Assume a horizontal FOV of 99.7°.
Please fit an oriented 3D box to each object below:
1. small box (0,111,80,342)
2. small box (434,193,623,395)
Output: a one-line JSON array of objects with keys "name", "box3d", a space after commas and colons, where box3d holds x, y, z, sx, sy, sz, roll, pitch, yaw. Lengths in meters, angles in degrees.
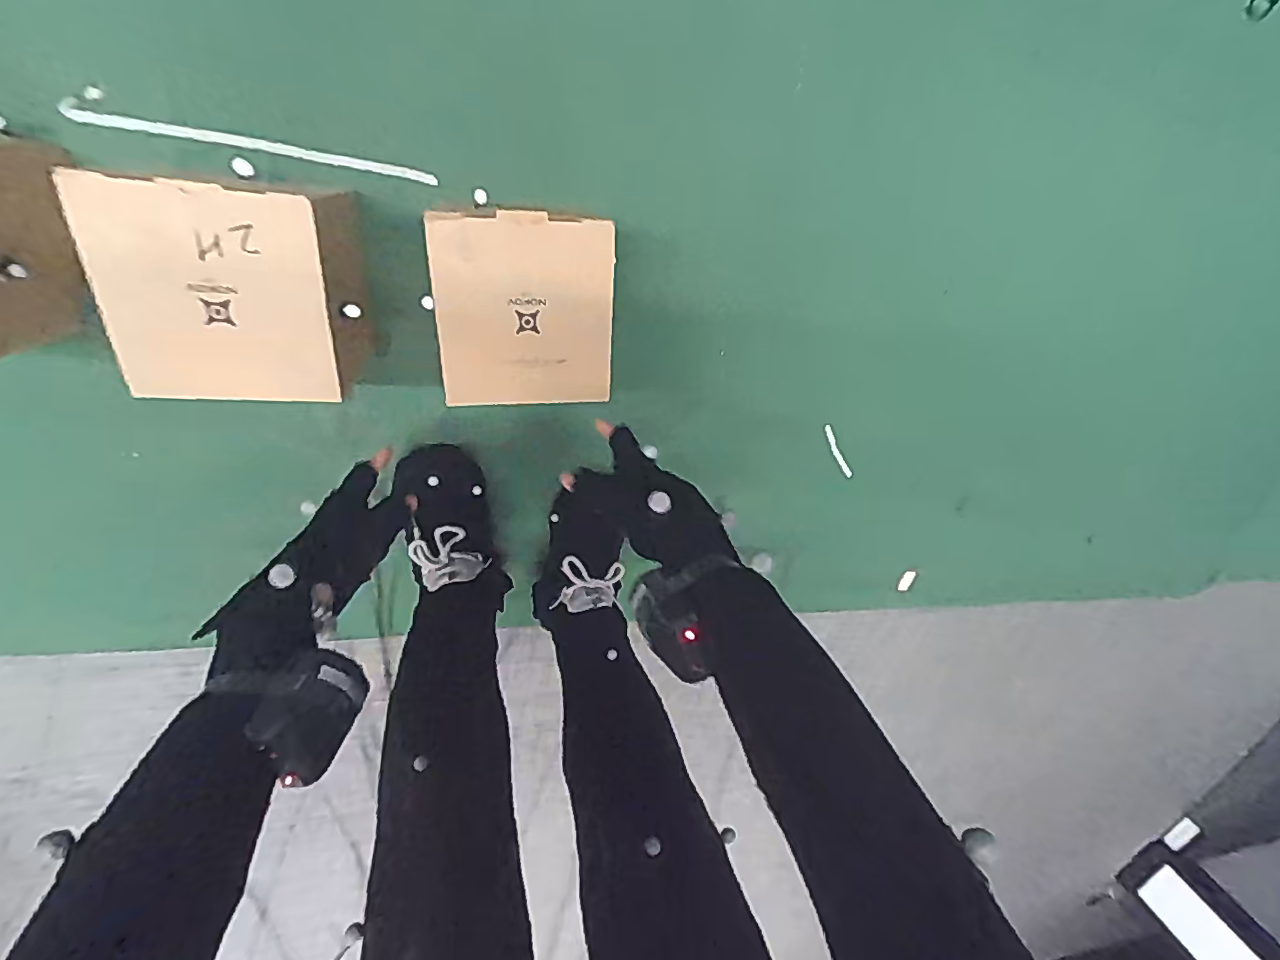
[{"name": "small box", "box3d": [-0.603, -0.222, 0.428, 0.168, 0.176, 0.179, 12, 116, -20]}, {"name": "small box", "box3d": [-0.120, -0.200, 0.573, 0.168, 0.176, 0.179, -2, 119, -14]}]
